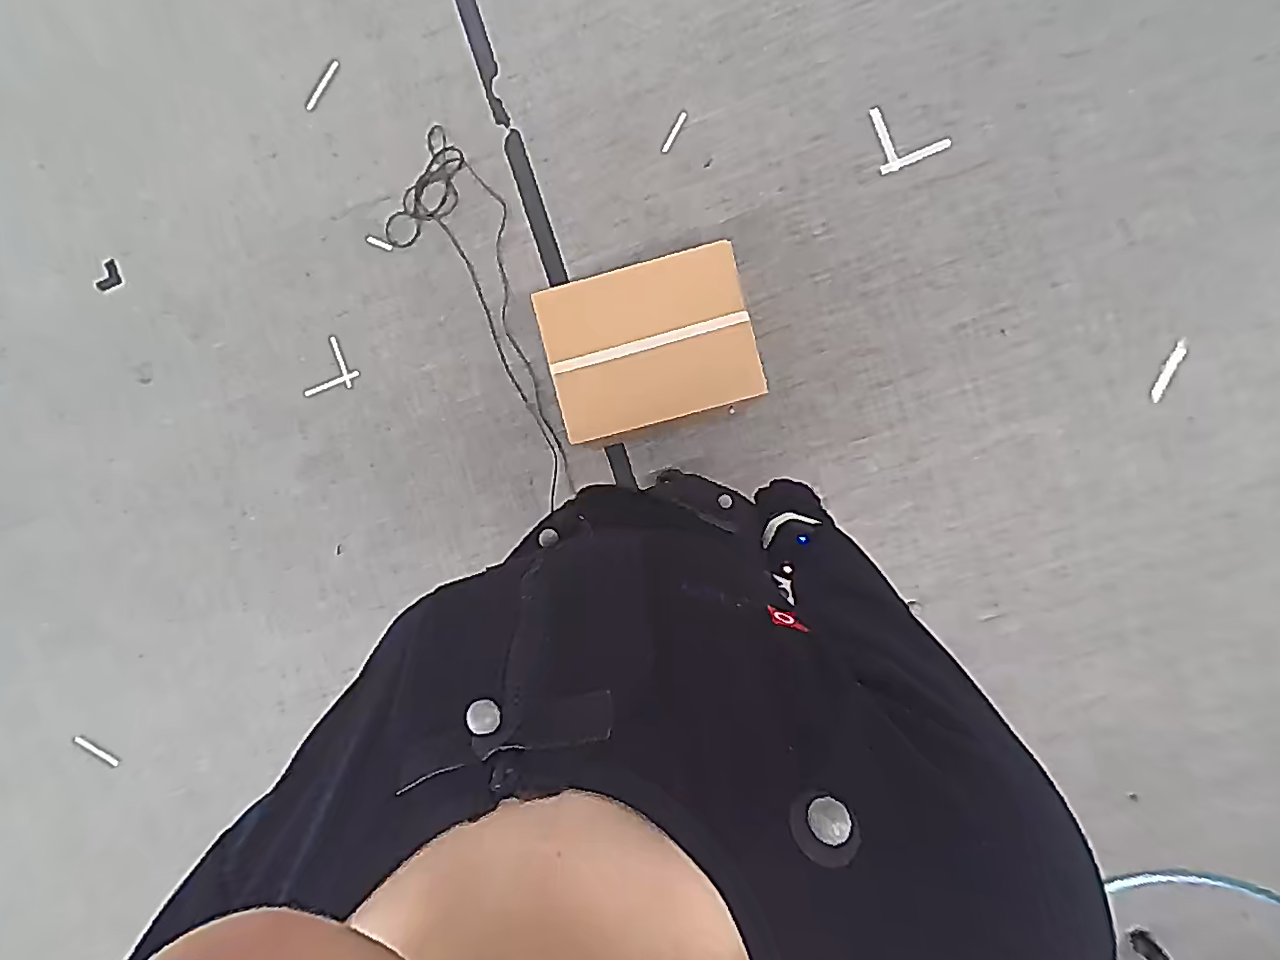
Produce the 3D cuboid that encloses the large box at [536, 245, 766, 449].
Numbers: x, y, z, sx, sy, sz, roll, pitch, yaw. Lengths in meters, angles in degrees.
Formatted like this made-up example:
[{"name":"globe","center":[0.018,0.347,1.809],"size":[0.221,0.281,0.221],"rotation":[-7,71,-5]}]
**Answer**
[{"name":"large box","center":[0.028,-0.269,1.219],"size":[0.408,0.320,0.320],"rotation":[-15,90,3]}]
